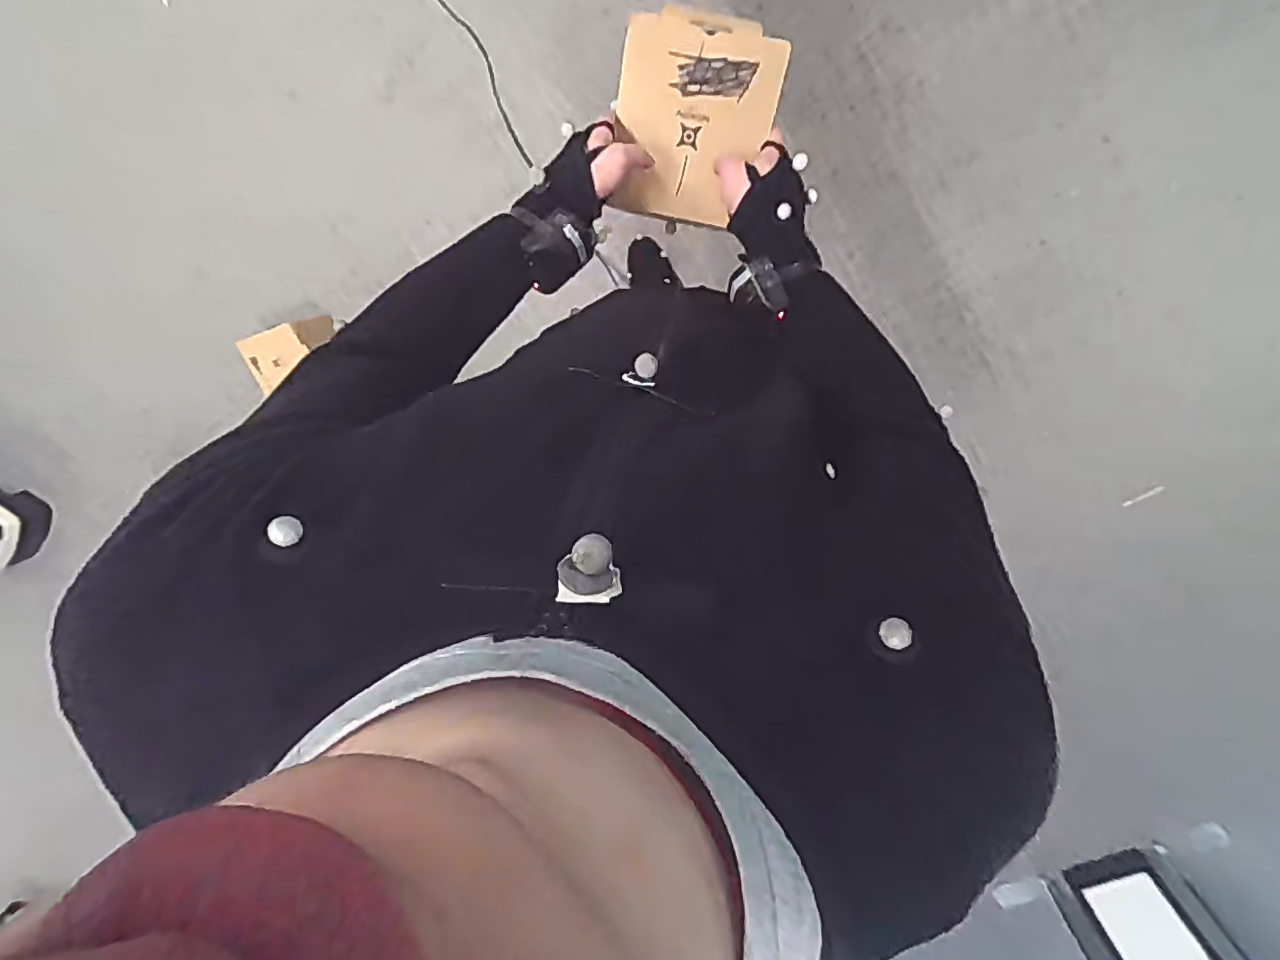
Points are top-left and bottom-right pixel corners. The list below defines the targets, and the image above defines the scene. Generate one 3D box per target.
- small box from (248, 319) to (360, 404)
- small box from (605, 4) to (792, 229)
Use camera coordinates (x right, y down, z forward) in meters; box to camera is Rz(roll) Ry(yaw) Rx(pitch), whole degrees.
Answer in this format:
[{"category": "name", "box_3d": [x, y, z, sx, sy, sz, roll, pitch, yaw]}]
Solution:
[{"category": "small box", "box_3d": [-0.905, -0.331, 1.484, 0.179, 0.176, 0.168, -15, 112, 11]}, {"category": "small box", "box_3d": [0.062, -0.400, 0.628, 0.168, 0.176, 0.179, 11, 115, 2]}]
